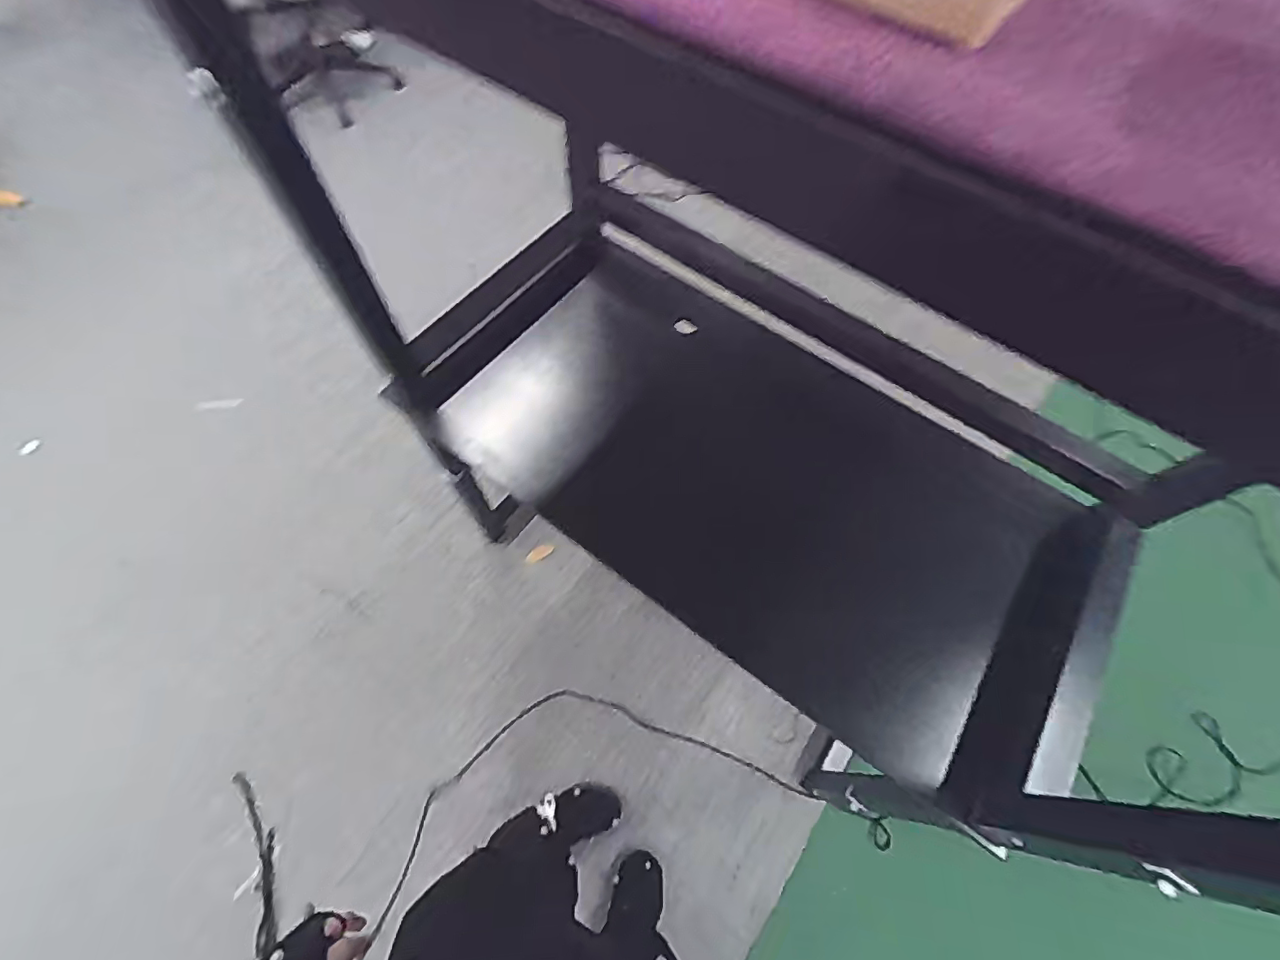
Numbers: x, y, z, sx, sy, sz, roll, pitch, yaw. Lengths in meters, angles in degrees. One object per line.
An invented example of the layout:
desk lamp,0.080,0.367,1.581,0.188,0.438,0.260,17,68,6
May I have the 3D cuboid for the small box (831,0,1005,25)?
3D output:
small box,0.105,-0.304,0.186,0.179,0.176,0.168,36,68,15
